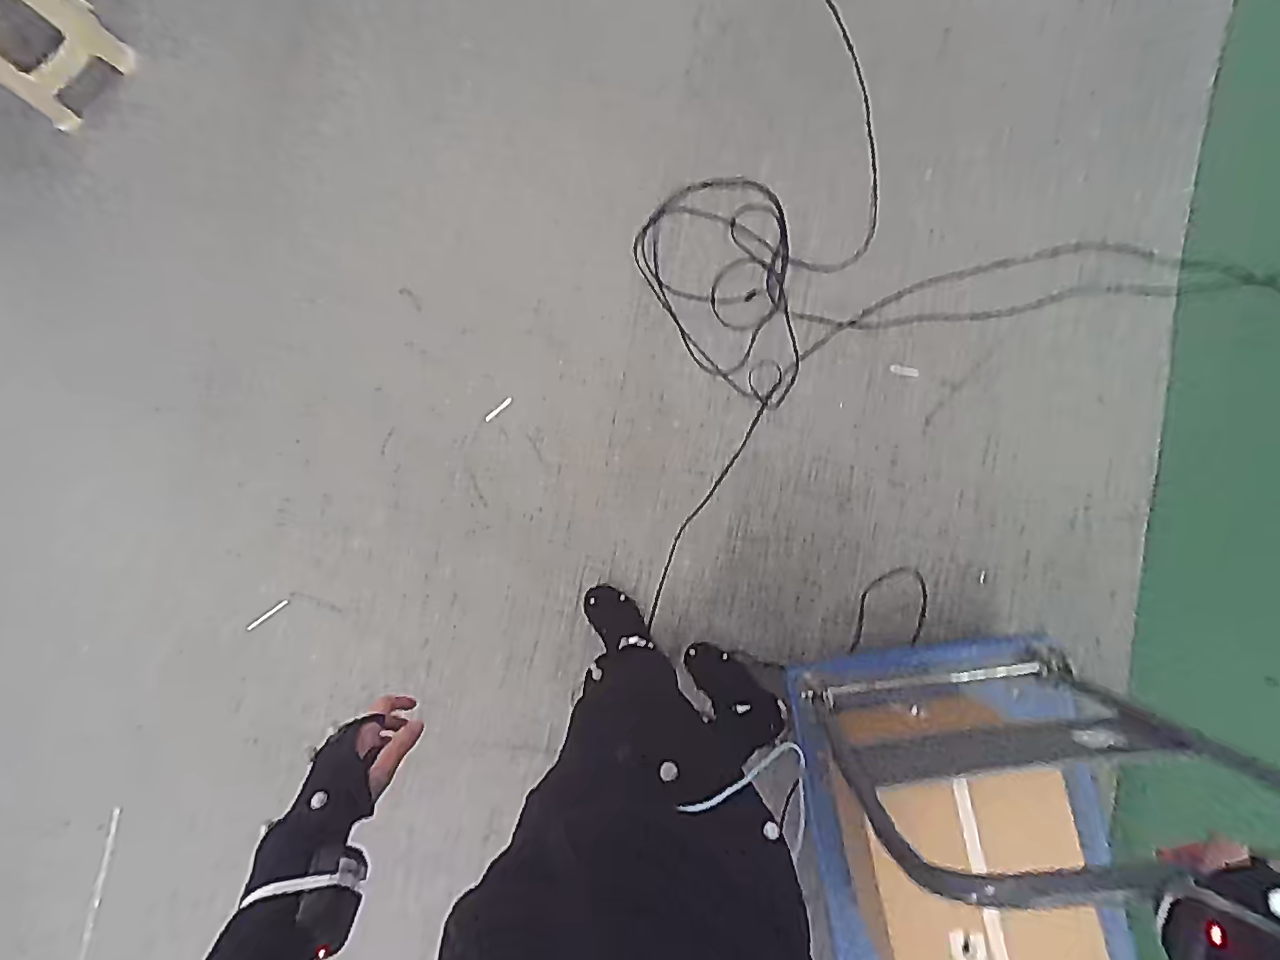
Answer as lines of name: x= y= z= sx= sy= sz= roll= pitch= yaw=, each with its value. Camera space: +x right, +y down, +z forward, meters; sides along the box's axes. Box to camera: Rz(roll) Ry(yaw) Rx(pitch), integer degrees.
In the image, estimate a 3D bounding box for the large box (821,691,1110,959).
large box: x=0.559 y=0.656 z=0.994 sx=0.320 sy=0.320 sz=0.408 roll=-11 pitch=84 yaw=6
